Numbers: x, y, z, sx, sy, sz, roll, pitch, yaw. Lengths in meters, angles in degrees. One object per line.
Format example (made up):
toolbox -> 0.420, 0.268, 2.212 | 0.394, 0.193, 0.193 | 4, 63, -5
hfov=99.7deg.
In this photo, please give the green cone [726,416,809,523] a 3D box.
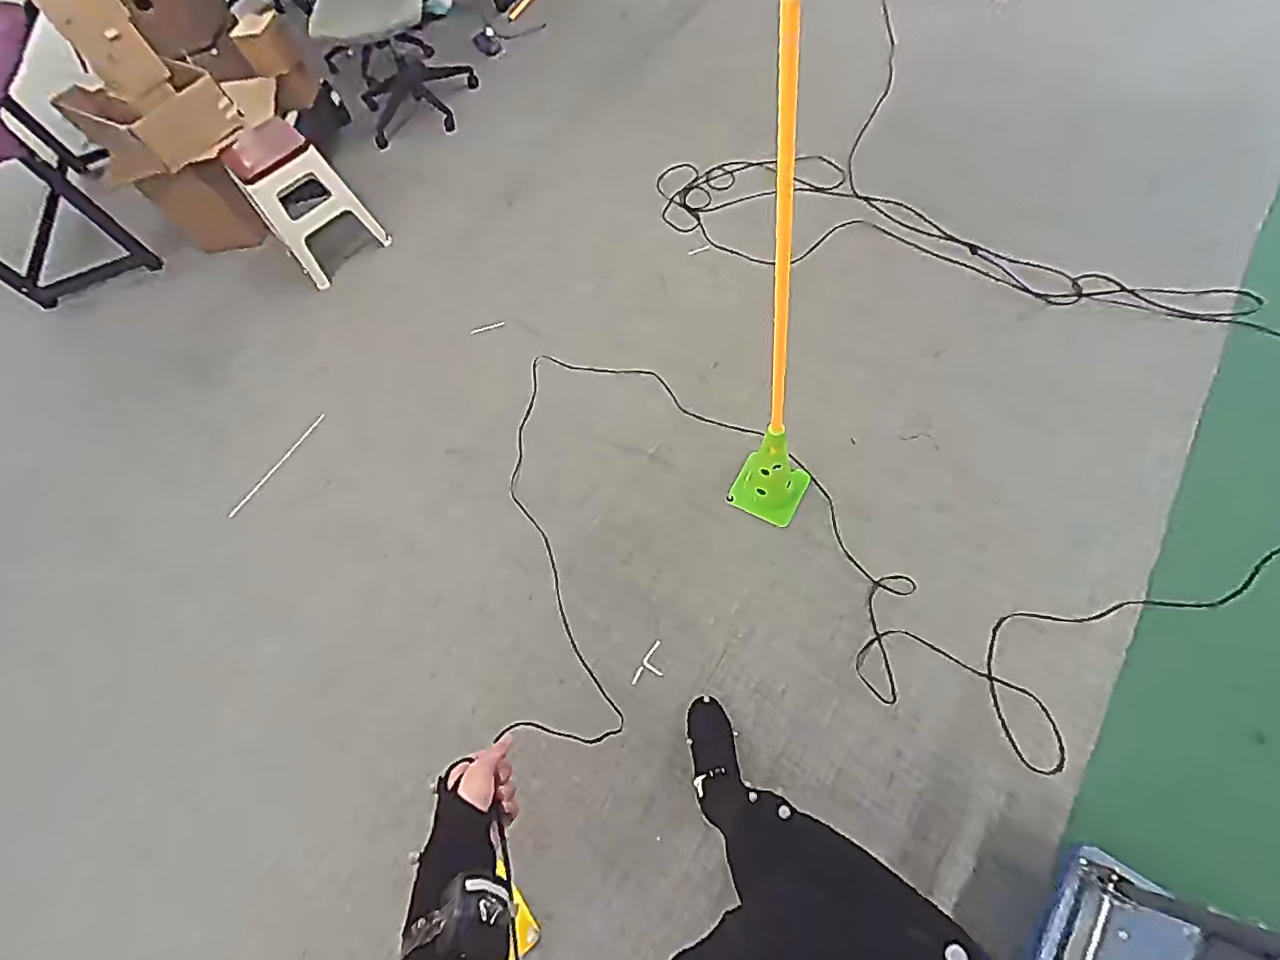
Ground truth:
green cone -> 0.363, -0.058, 1.488 | 0.200, 0.368, 0.202 | 25, 70, 19
